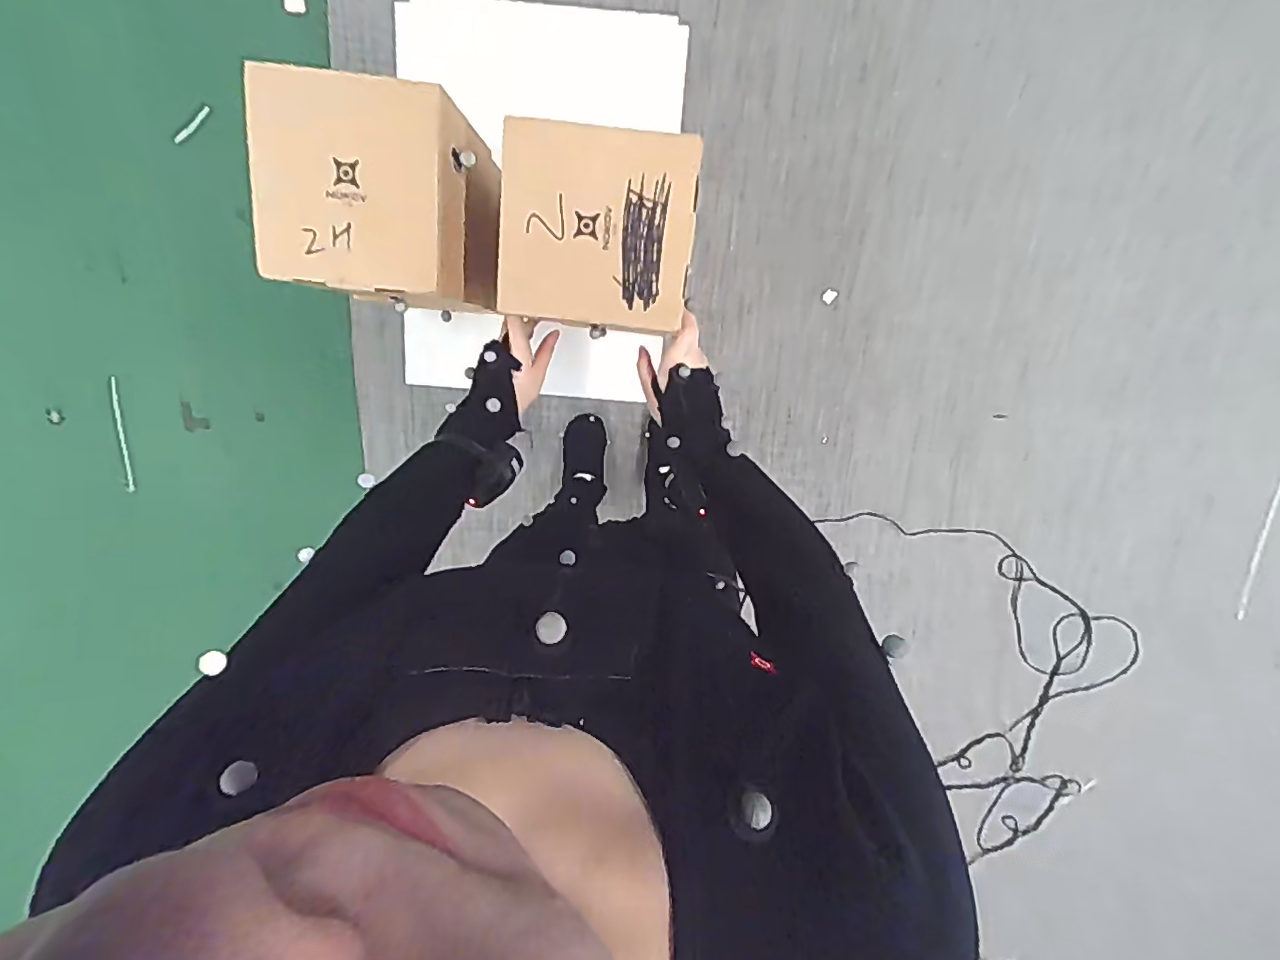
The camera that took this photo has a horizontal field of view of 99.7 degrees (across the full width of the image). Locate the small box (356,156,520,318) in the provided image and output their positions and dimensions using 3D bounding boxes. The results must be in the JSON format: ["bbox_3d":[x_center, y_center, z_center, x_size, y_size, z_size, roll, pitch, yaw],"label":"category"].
[{"bbox_3d":[-0.259,-0.316,0.718,0.168,0.176,0.179,5,105,-1],"label":"small box"}]

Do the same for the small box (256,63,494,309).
[{"bbox_3d":[-0.255,-0.281,0.558,0.168,0.176,0.179,6,104,-1],"label":"small box"}]

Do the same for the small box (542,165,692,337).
[{"bbox_3d":[-0.029,-0.291,0.722,0.168,0.176,0.179,7,104,0],"label":"small box"}]
